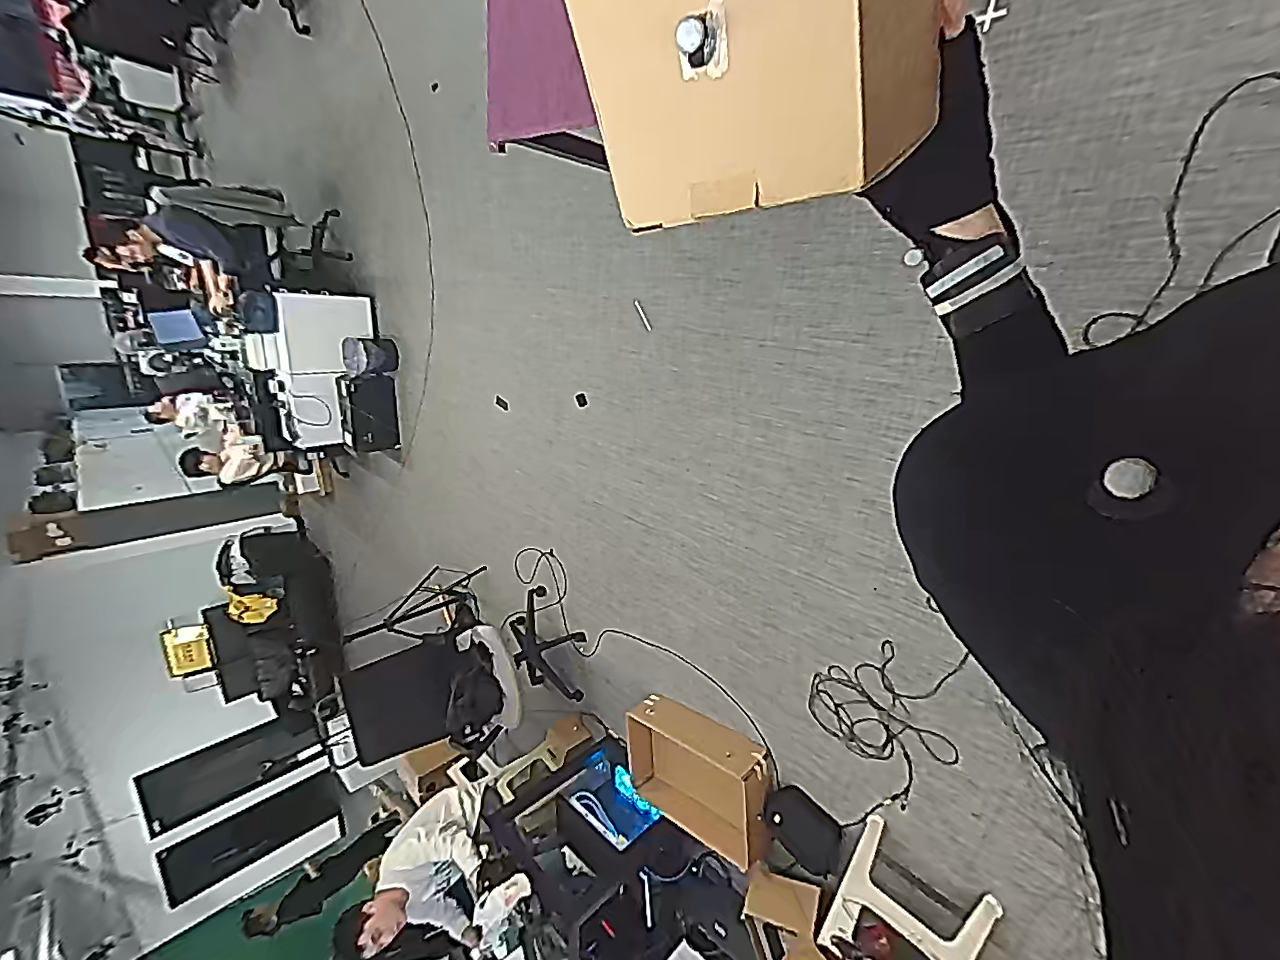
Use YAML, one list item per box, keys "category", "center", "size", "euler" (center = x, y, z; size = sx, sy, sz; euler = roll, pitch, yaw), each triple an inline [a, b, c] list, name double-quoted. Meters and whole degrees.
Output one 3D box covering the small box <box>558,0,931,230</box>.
- category: "small box"
  center: [0.069, -0.278, 0.331]
  size: [0.168, 0.179, 0.176]
  euler: [10, 134, 37]
